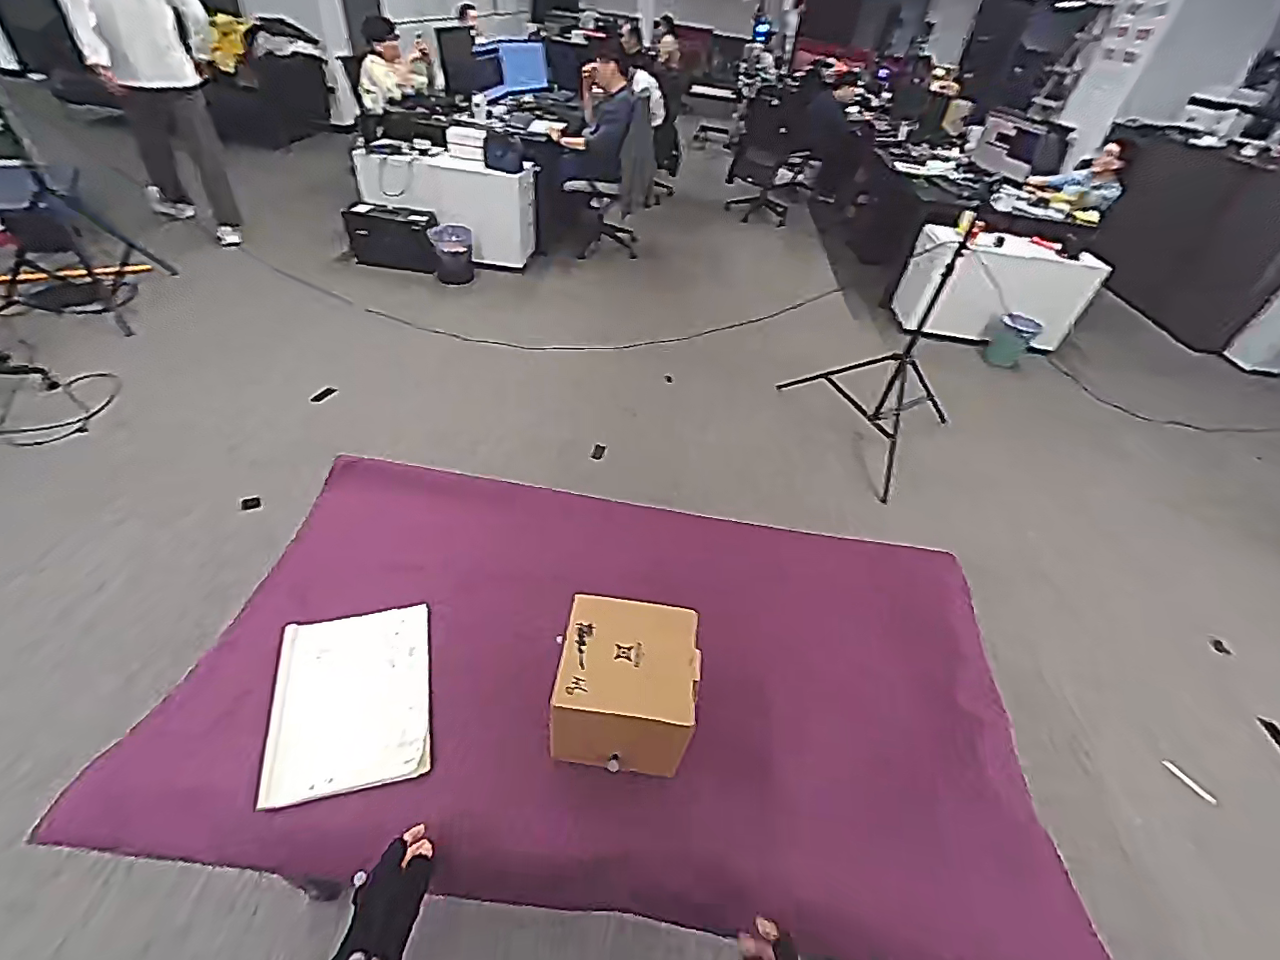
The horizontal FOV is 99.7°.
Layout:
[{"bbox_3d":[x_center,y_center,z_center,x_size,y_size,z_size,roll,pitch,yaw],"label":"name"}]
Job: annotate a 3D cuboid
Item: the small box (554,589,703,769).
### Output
[{"bbox_3d":[-0.016,0.279,0.752,0.179,0.176,0.168,9,41,0],"label":"small box"}]
